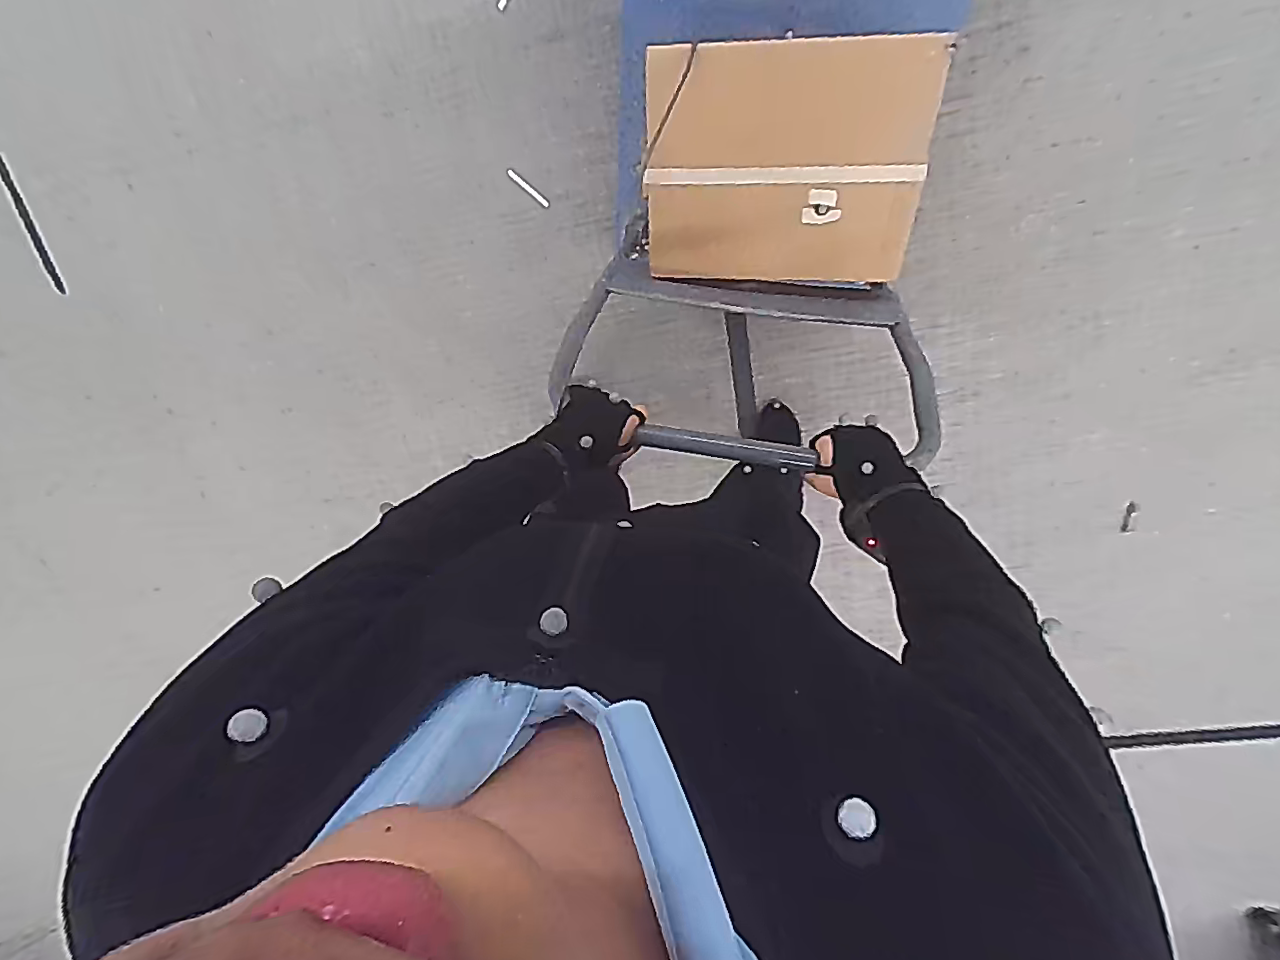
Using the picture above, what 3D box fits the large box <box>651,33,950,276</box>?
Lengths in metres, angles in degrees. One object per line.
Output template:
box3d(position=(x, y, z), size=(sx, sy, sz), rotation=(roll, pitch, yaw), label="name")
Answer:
box3d(position=(0.238, -0.555, 0.940), size=(0.408, 0.320, 0.320), rotation=(4, 127, 8), label="large box")
